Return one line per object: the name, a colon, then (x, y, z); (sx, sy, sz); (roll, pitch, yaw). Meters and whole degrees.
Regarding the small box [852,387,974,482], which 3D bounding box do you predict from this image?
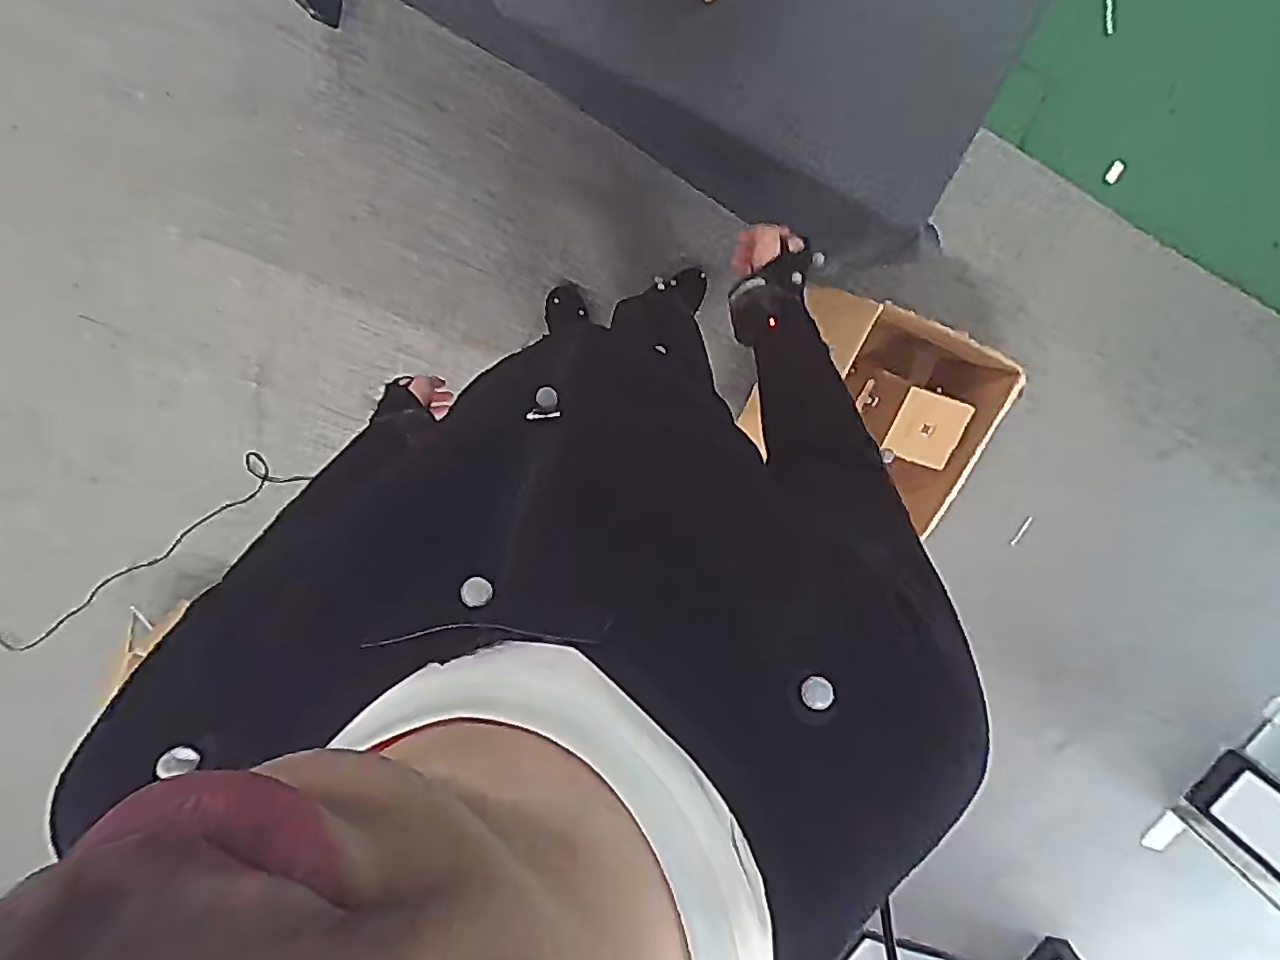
small box: (0.661, -0.118, 1.330); (0.179, 0.176, 0.168); (16, 109, -8)
